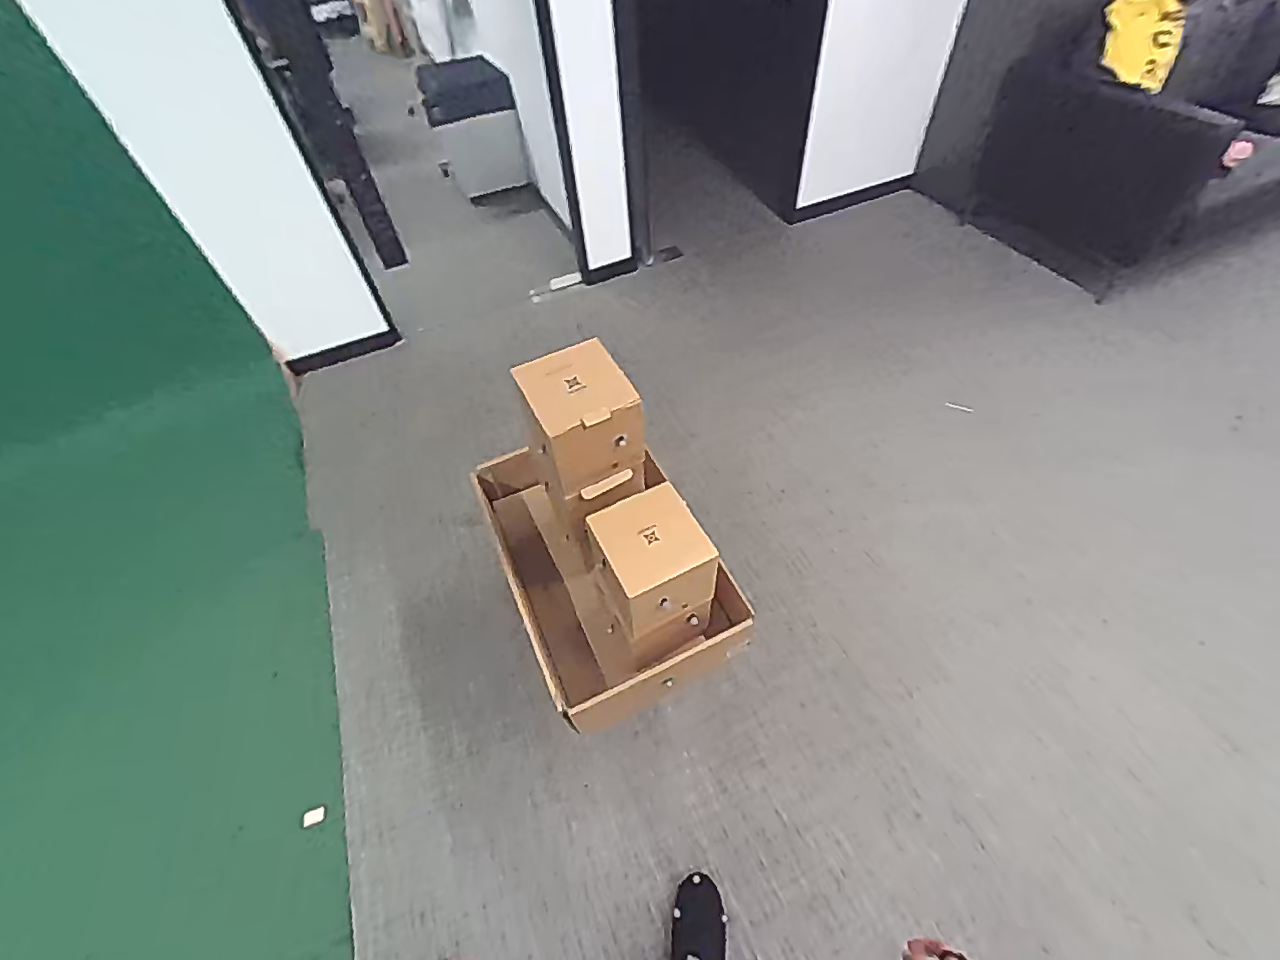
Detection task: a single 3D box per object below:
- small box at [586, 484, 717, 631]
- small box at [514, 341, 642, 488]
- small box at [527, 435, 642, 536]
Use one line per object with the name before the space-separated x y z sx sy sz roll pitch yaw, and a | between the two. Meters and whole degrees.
small box | 0.021 0.145 0.959 0.168 0.176 0.179 -23 54 -14
small box | -0.102 -0.108 0.957 0.168 0.176 0.179 -23 57 -15
small box | -0.103 -0.010 1.088 0.168 0.176 0.179 -27 57 -16
